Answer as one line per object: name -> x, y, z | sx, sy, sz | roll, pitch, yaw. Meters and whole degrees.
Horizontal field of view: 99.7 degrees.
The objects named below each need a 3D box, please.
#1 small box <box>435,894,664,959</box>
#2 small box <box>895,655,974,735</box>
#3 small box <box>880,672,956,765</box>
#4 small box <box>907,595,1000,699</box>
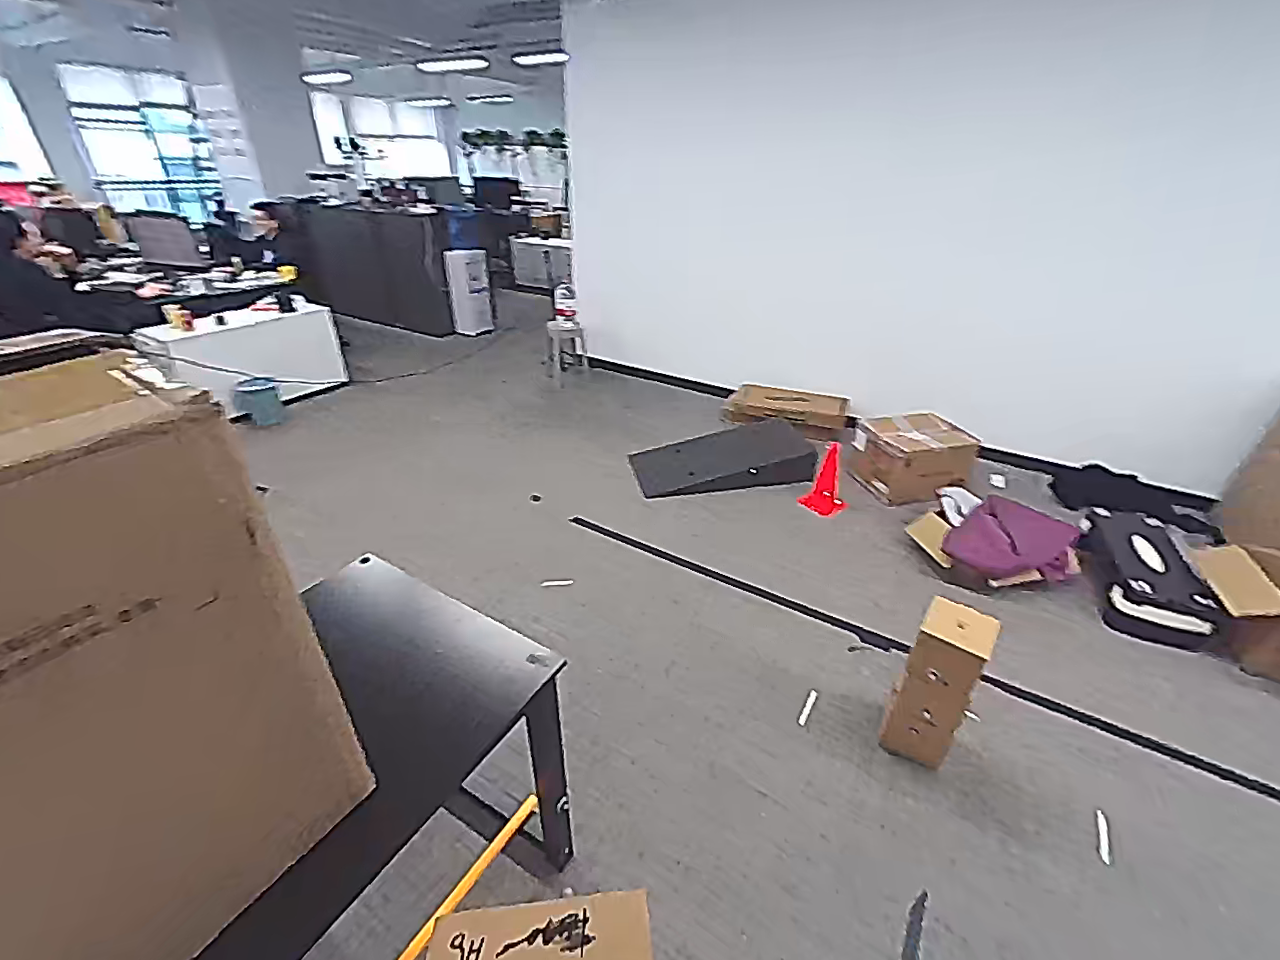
small box -> -0.058, 0.437, 0.385 | 0.168, 0.176, 0.179 | -4, 34, -4
small box -> 0.860, 0.594, 1.576 | 0.168, 0.176, 0.179 | 18, 35, 27
small box -> 0.853, 0.735, 1.661 | 0.179, 0.176, 0.168 | 17, 34, 24
small box -> 0.859, 0.456, 1.488 | 0.168, 0.176, 0.179 | 22, 37, 32
